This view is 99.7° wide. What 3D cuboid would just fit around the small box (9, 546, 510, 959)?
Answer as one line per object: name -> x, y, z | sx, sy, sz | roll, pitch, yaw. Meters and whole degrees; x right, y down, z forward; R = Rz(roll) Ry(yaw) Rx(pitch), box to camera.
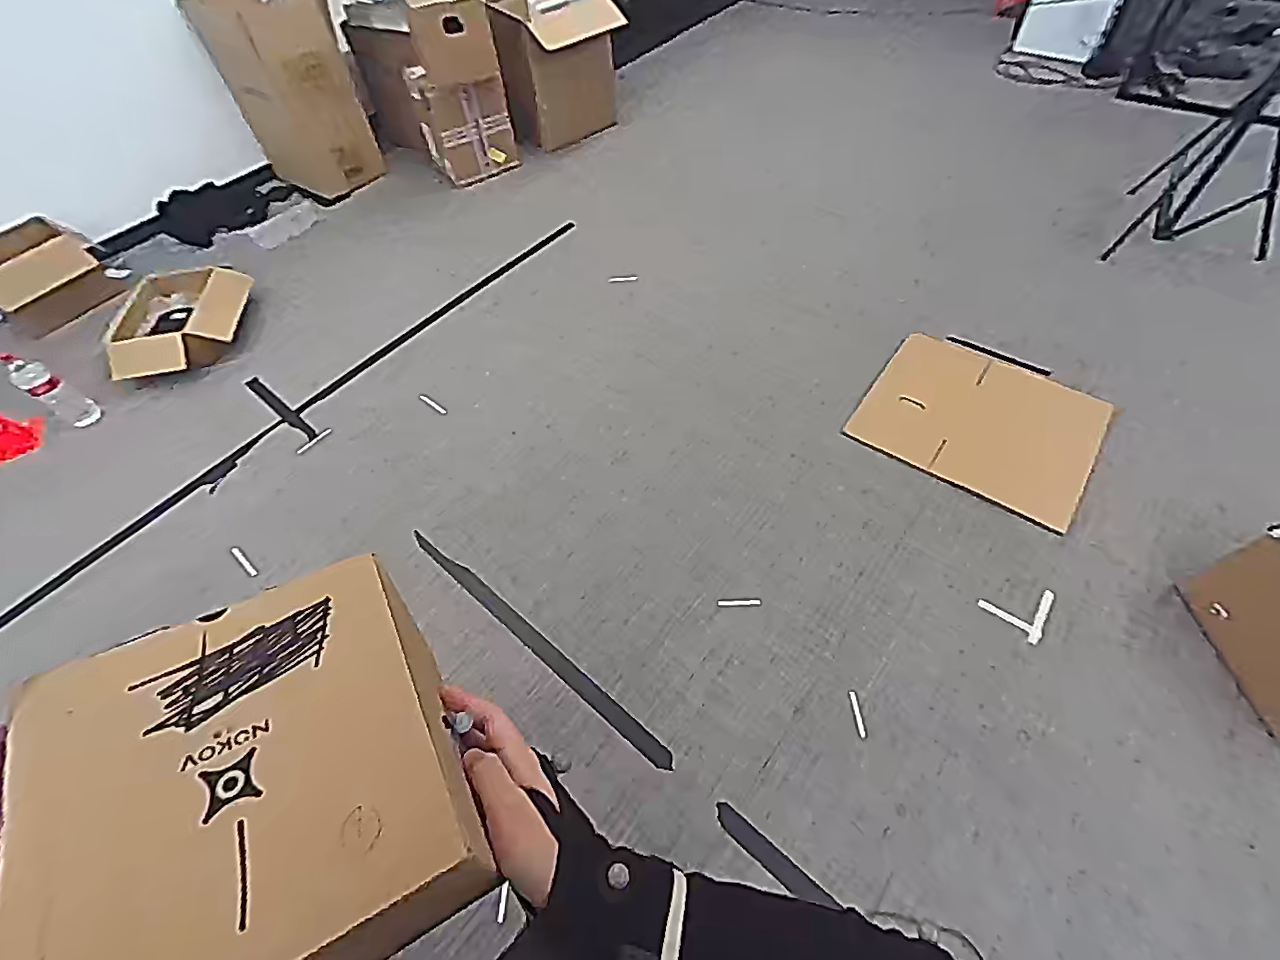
small box -> -0.188, 0.175, 0.313 | 0.168, 0.176, 0.179 | -22, 57, -21
